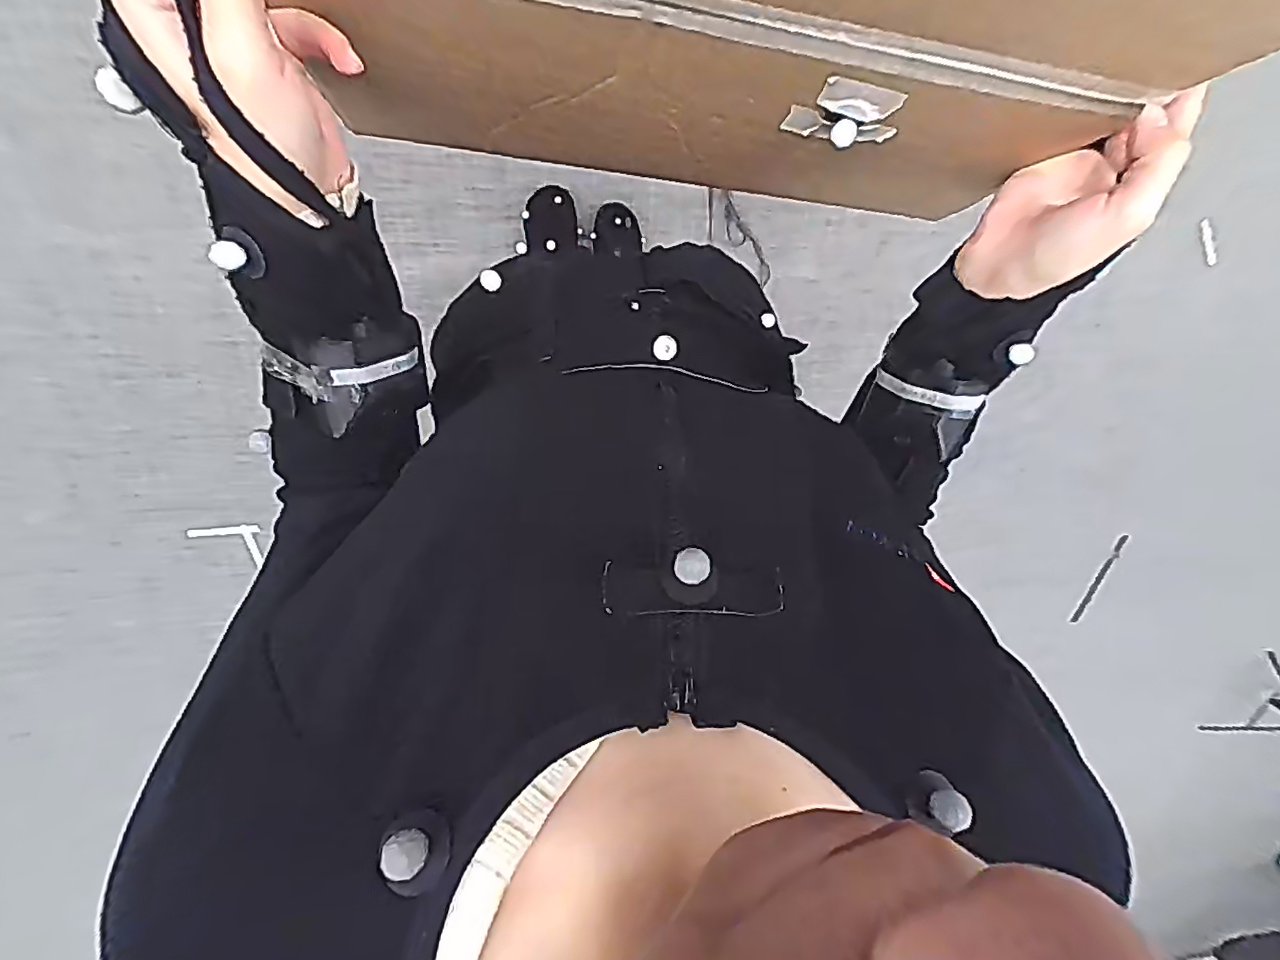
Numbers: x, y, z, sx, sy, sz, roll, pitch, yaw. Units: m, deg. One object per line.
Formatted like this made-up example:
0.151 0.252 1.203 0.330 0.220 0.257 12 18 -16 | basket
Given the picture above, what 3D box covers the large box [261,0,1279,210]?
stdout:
0.049 -0.341 0.207 0.408 0.320 0.320 2 97 -10 | large box
